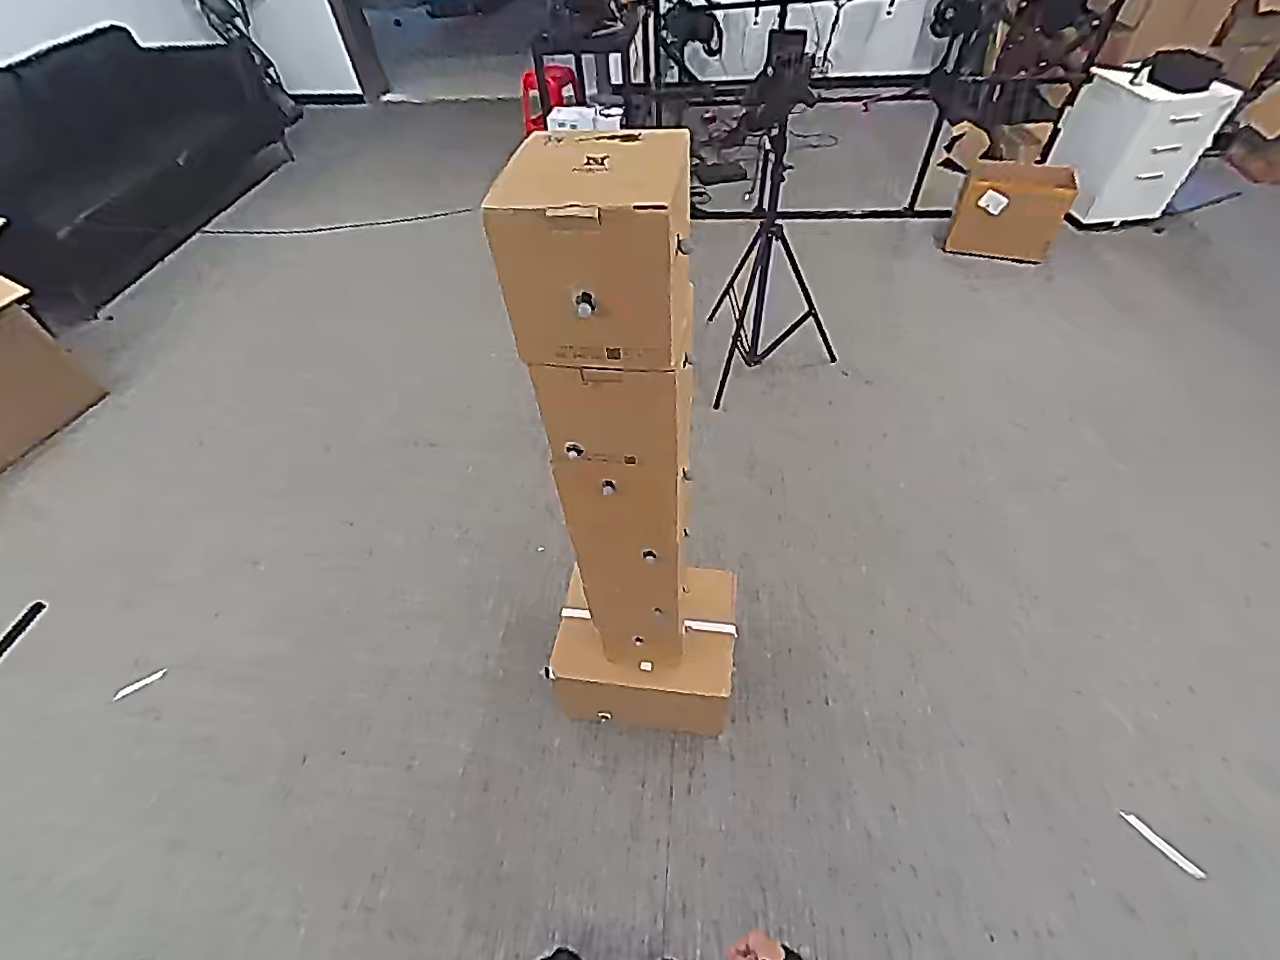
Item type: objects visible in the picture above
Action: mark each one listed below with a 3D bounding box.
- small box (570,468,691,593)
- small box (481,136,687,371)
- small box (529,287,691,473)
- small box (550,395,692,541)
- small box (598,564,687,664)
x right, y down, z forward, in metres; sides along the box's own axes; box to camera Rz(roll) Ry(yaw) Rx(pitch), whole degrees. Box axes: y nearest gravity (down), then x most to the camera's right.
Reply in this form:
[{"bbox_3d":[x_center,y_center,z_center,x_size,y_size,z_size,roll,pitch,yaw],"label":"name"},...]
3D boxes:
[{"bbox_3d":[-0.008,0.082,0.941,0.179,0.176,0.168,5,51,8],"label":"small box"},{"bbox_3d":[-0.040,-0.231,0.565,0.168,0.176,0.179,4,52,8],"label":"small box"},{"bbox_3d":[-0.024,-0.128,0.691,0.168,0.176,0.179,5,51,9],"label":"small box"},{"bbox_3d":[-0.017,-0.022,0.817,0.179,0.176,0.168,5,52,9],"label":"small box"},{"bbox_3d":[0.012,0.293,1.191,0.179,0.176,0.168,3,51,5],"label":"small box"}]
